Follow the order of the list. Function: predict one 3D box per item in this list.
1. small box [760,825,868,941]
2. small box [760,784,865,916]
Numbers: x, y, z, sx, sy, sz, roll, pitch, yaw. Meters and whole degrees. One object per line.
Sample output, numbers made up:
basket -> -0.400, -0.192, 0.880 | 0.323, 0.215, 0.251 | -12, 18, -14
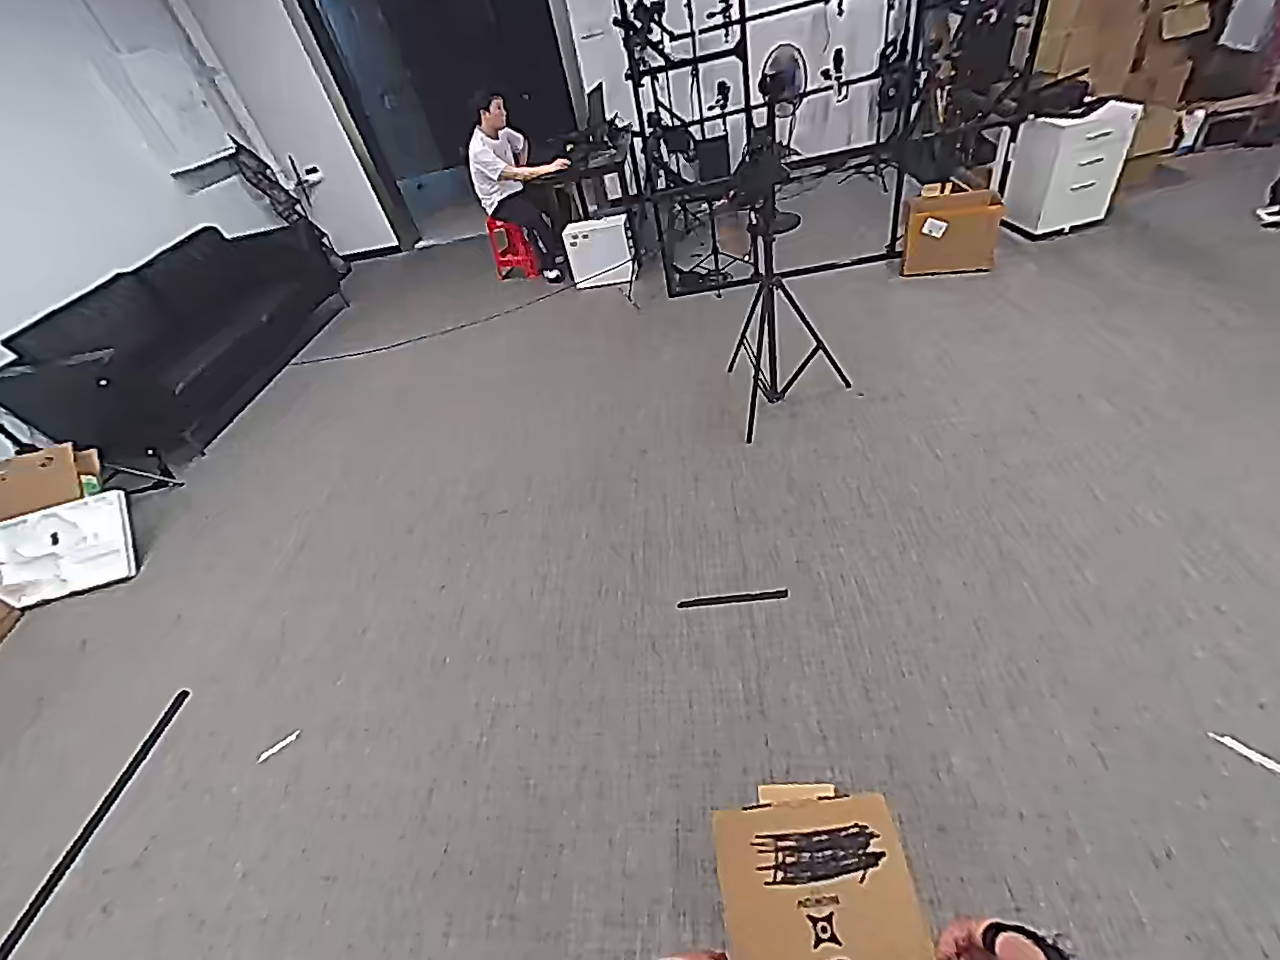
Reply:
small box -> 0.363, 0.841, 1.152 | 0.168, 0.176, 0.179 | -15, 41, 1
small box -> 0.325, 0.718, 1.052 | 0.168, 0.176, 0.179 | -6, 42, 10
